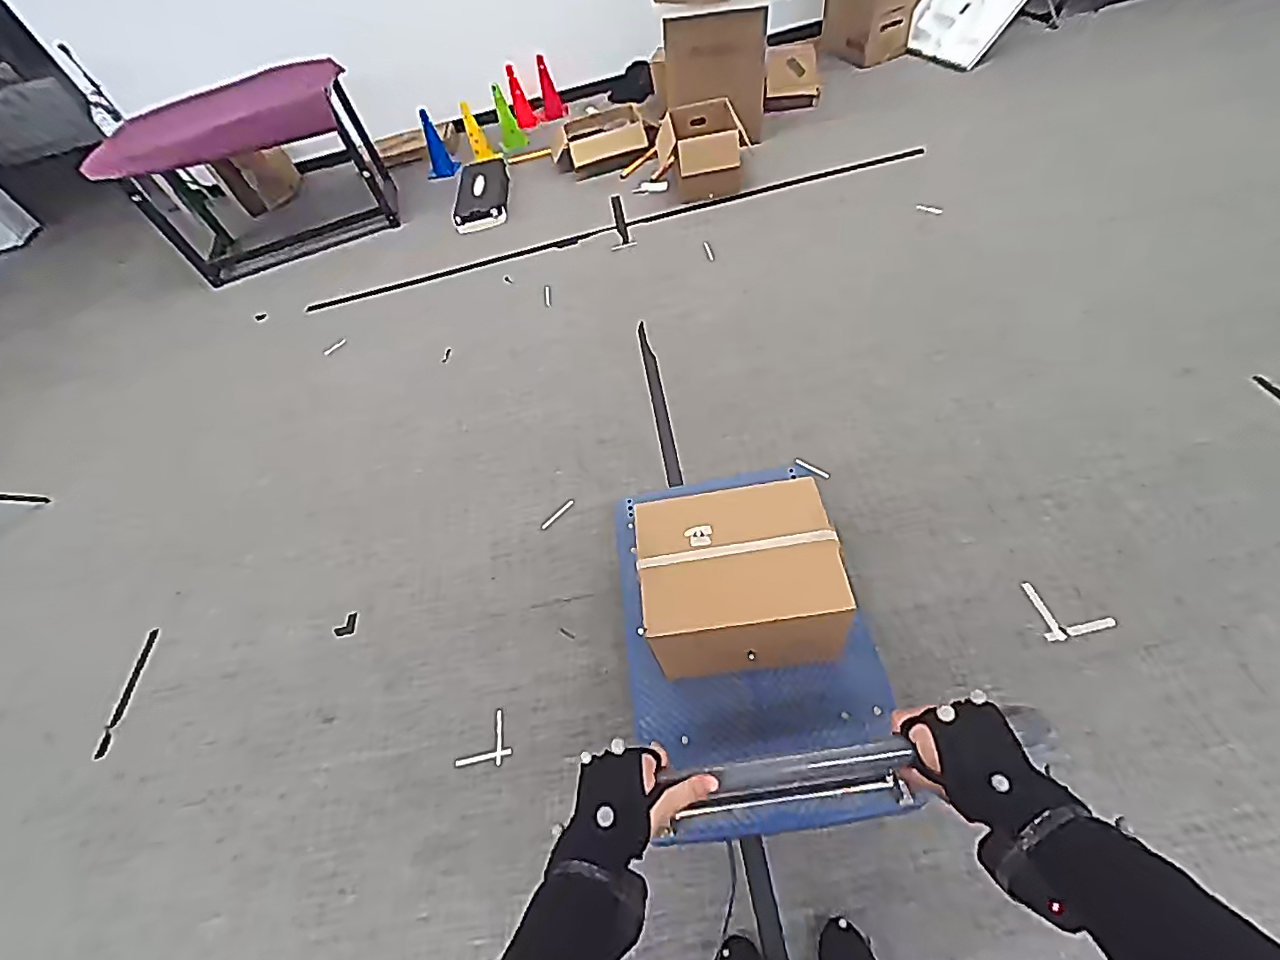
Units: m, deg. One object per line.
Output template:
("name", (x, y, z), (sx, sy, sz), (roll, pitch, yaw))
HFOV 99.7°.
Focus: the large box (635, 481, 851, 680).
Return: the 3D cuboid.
("large box", (0.224, 0.243, 1.249), (0.408, 0.320, 0.320), (-10, 52, 6))
